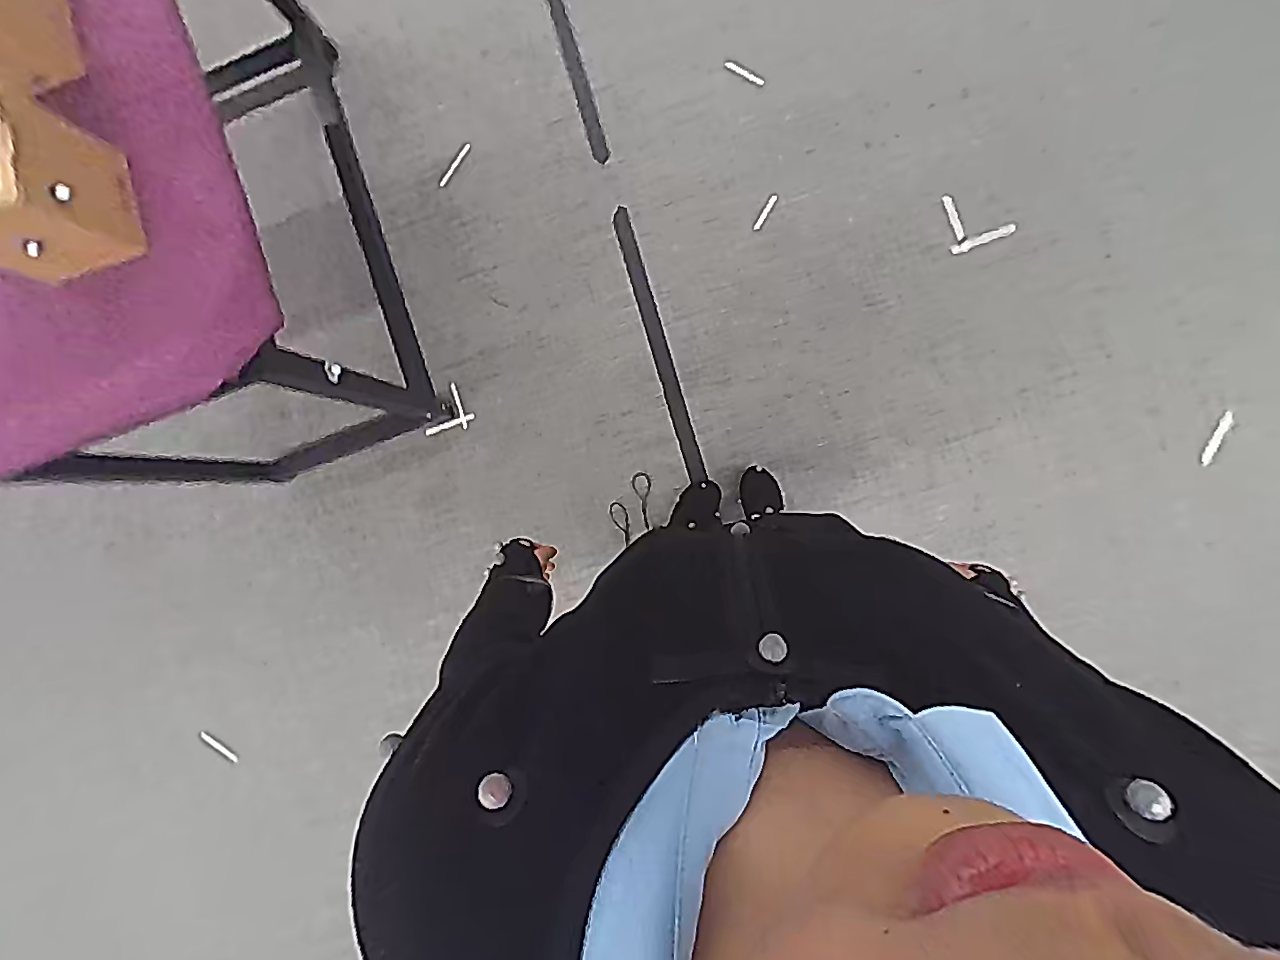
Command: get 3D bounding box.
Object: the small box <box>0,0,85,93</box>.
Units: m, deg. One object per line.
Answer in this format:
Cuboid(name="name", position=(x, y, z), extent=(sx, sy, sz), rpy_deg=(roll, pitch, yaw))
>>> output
Cuboid(name="small box", position=(-0.982, -0.714, 0.792), extent=(0.168, 0.176, 0.179), rpy_deg=(-15, 88, 4))
